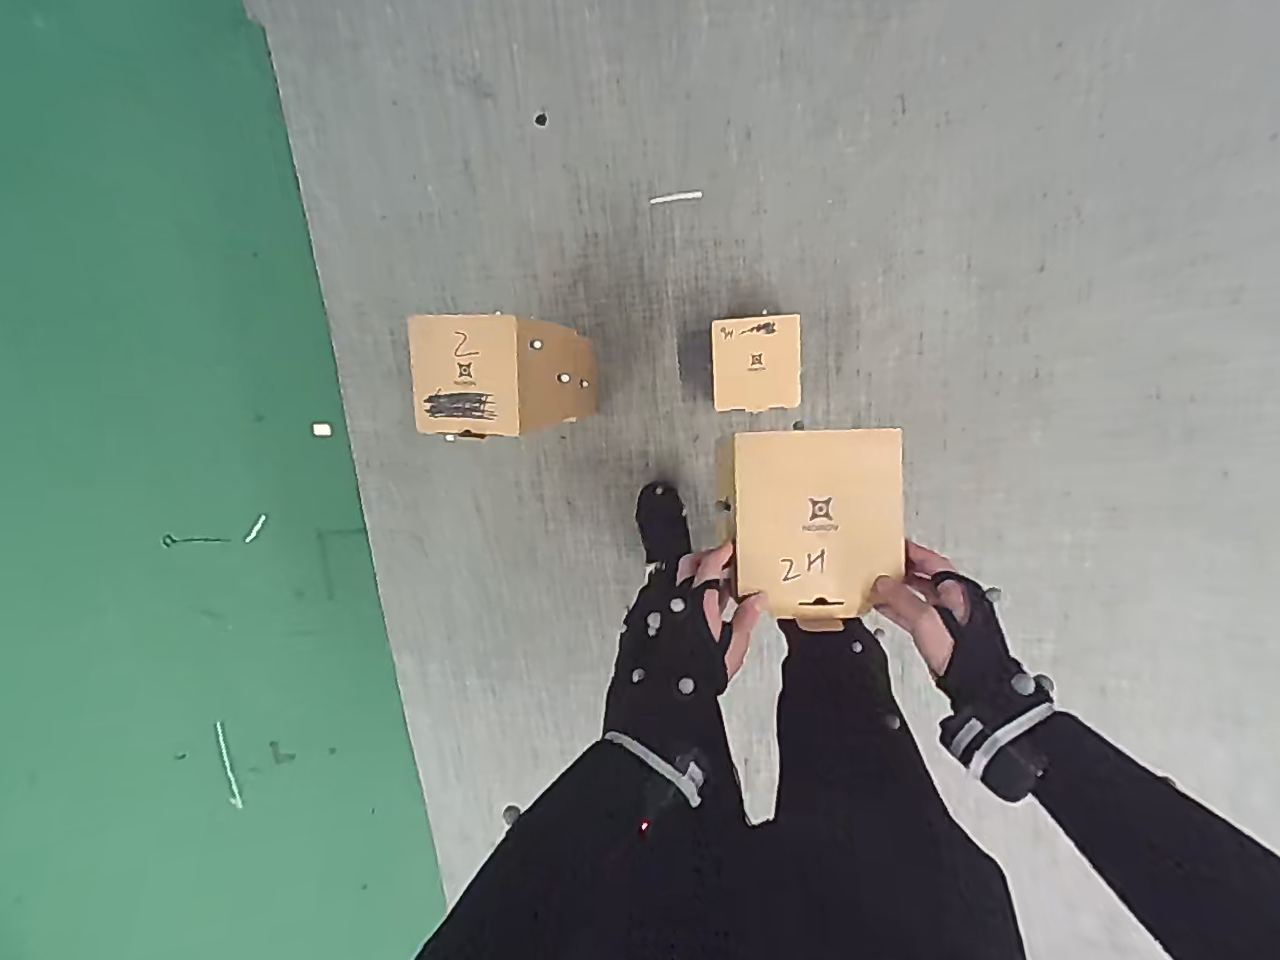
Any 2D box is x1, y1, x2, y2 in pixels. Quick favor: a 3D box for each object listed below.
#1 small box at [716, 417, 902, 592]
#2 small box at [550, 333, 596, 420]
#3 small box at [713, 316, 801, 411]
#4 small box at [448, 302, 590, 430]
[{"bbox_3d":[0.178,0.024,0.618,0.168,0.176,0.179,0,91,1],"label":"small box"},{"bbox_3d":[-0.194,-0.229,1.186,0.168,0.176,0.179,2,101,9],"label":"small box"},{"bbox_3d":[0.236,-0.240,1.111,0.168,0.176,0.179,0,103,10],"label":"small box"},{"bbox_3d":[-0.223,-0.216,1.034,0.179,0.176,0.168,33,107,2],"label":"small box"}]
